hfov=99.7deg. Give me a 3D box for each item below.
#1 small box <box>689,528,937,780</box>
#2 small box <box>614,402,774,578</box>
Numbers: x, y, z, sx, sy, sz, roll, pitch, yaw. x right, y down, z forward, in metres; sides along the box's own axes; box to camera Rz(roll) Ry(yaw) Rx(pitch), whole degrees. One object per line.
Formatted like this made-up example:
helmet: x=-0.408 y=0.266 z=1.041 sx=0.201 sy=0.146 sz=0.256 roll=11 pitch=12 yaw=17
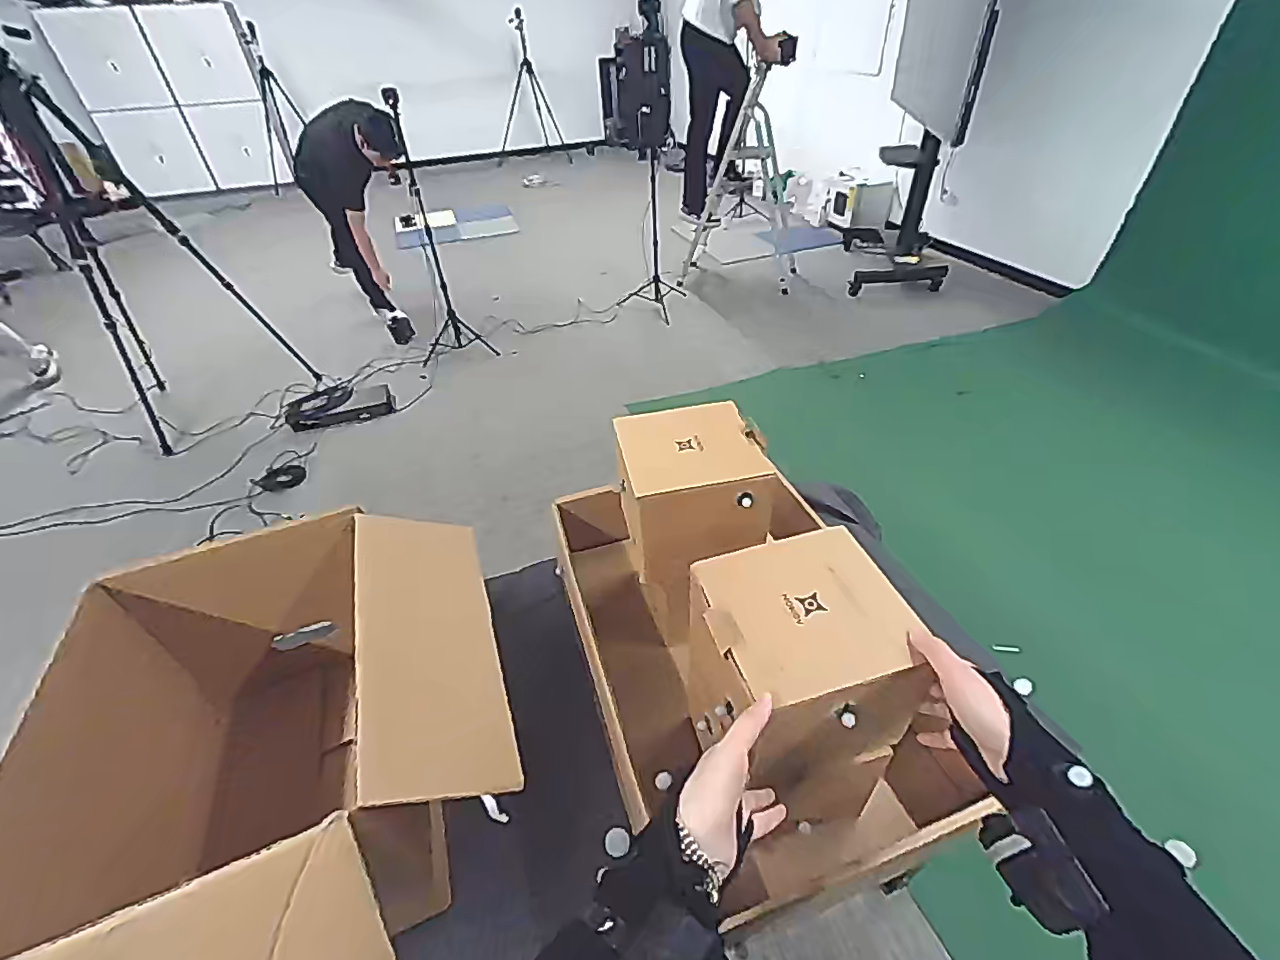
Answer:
small box: x=0.158 y=0.180 z=0.562 sx=0.179 sy=0.176 sz=0.168 roll=-12 pitch=42 yaw=-11
small box: x=0.067 y=0.016 z=0.752 sx=0.179 sy=0.176 sz=0.168 roll=-9 pitch=43 yaw=-7
